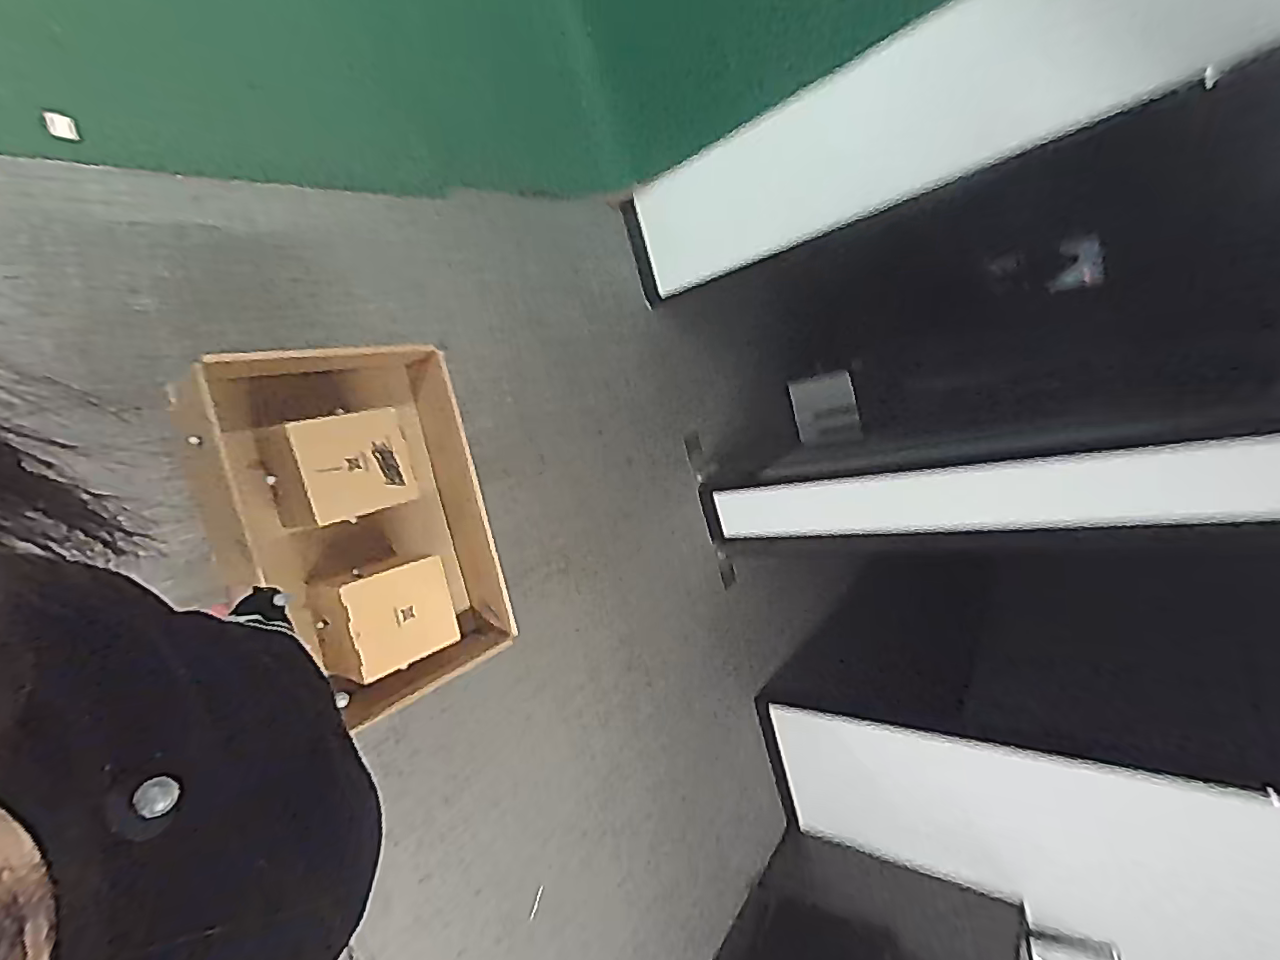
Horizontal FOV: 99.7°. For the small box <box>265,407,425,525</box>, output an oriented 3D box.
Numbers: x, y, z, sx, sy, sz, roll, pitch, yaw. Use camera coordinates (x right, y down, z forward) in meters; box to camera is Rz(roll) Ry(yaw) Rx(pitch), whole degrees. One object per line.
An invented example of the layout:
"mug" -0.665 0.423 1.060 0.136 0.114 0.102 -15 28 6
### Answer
"small box" -0.511 -0.024 0.938 0.179 0.176 0.168 -21 100 -46
